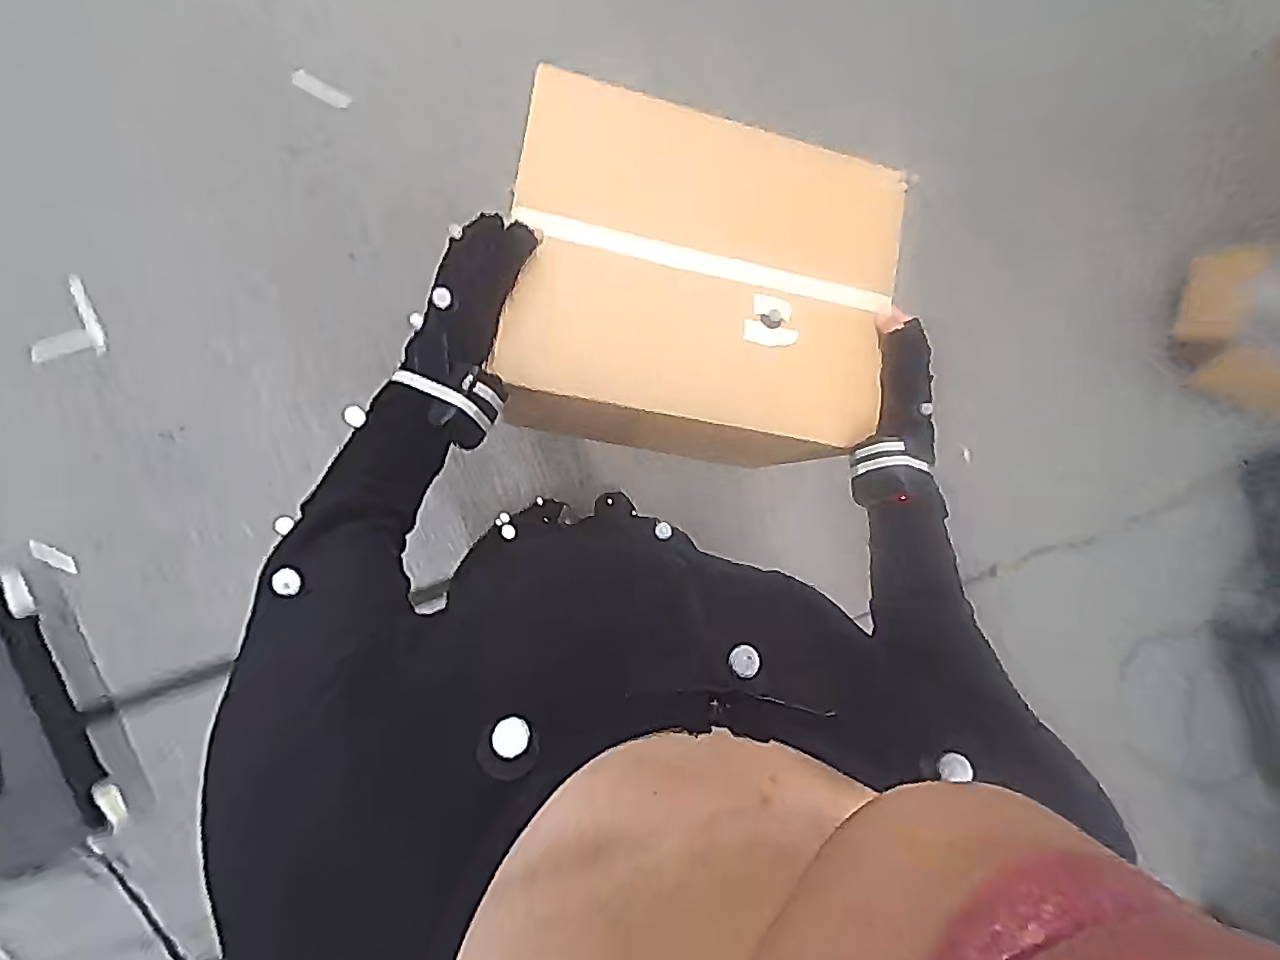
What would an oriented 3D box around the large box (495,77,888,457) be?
[{"bbox_3d":[0.039,-0.218,0.704,0.408,0.320,0.320,8,86,-11],"label":"large box"}]
